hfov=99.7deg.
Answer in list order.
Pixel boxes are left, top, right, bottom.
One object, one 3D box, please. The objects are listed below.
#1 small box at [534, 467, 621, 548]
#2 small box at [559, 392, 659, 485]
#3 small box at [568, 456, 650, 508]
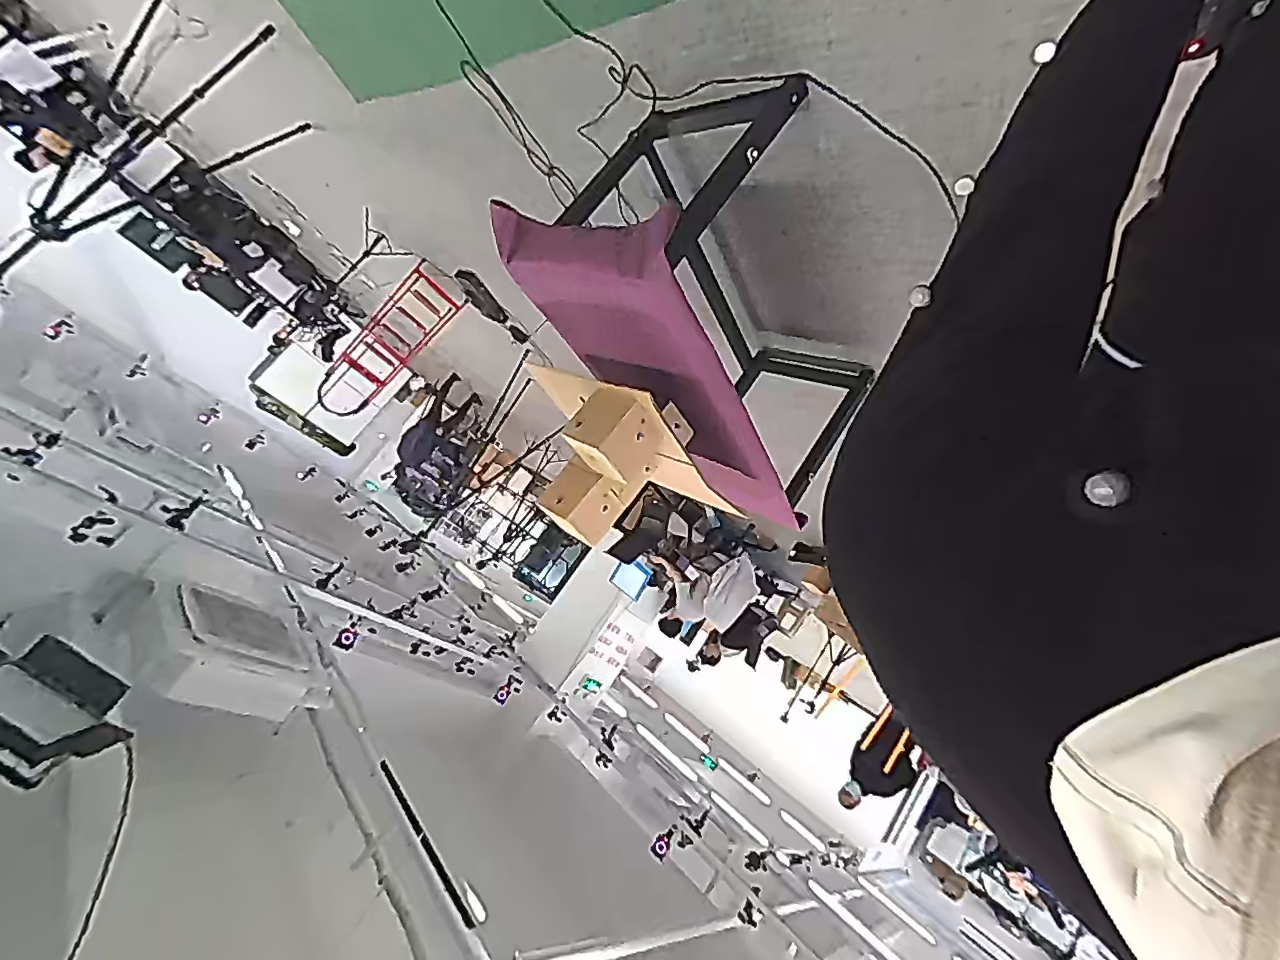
[{"bbox_3d":[-0.192,0.079,1.696,0.179,0.176,0.168,22,158,44],"label":"small box"},{"bbox_3d":[-0.081,-0.119,1.476,0.179,0.176,0.168,23,160,43],"label":"small box"},{"bbox_3d":[-0.091,-0.043,1.730,0.179,0.176,0.168,24,160,44],"label":"small box"}]
